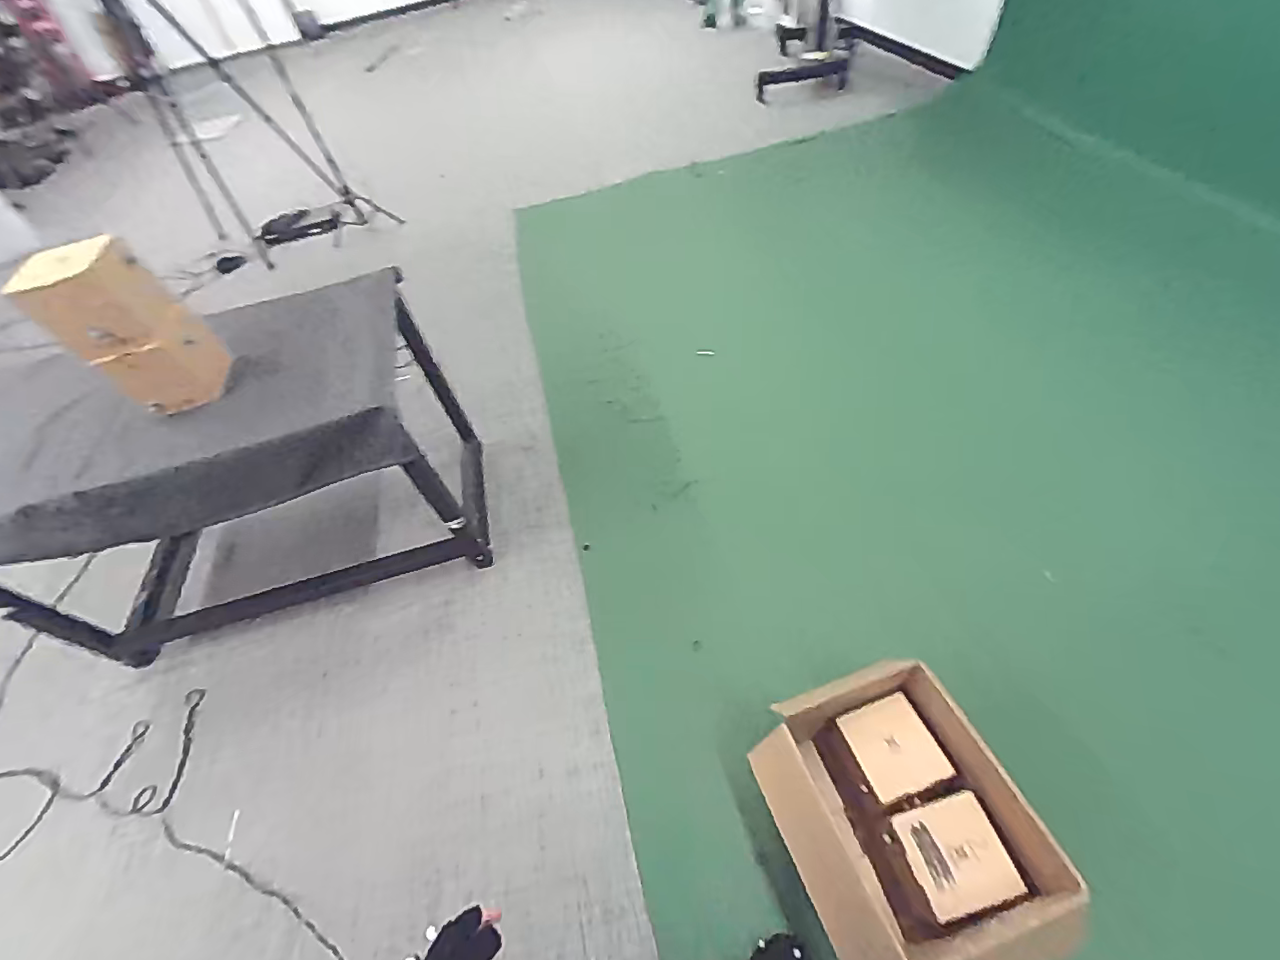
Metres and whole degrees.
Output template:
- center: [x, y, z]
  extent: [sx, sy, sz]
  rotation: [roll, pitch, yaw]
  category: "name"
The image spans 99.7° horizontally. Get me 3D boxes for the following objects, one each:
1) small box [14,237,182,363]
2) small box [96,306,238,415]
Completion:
- center: [-1.137, -0.382, 1.156]
  extent: [0.168, 0.176, 0.179]
  rotation: [-19, 52, -3]
  category: "small box"
- center: [-1.096, -0.274, 1.274]
  extent: [0.168, 0.176, 0.179]
  rotation: [-17, 50, -3]
  category: "small box"
